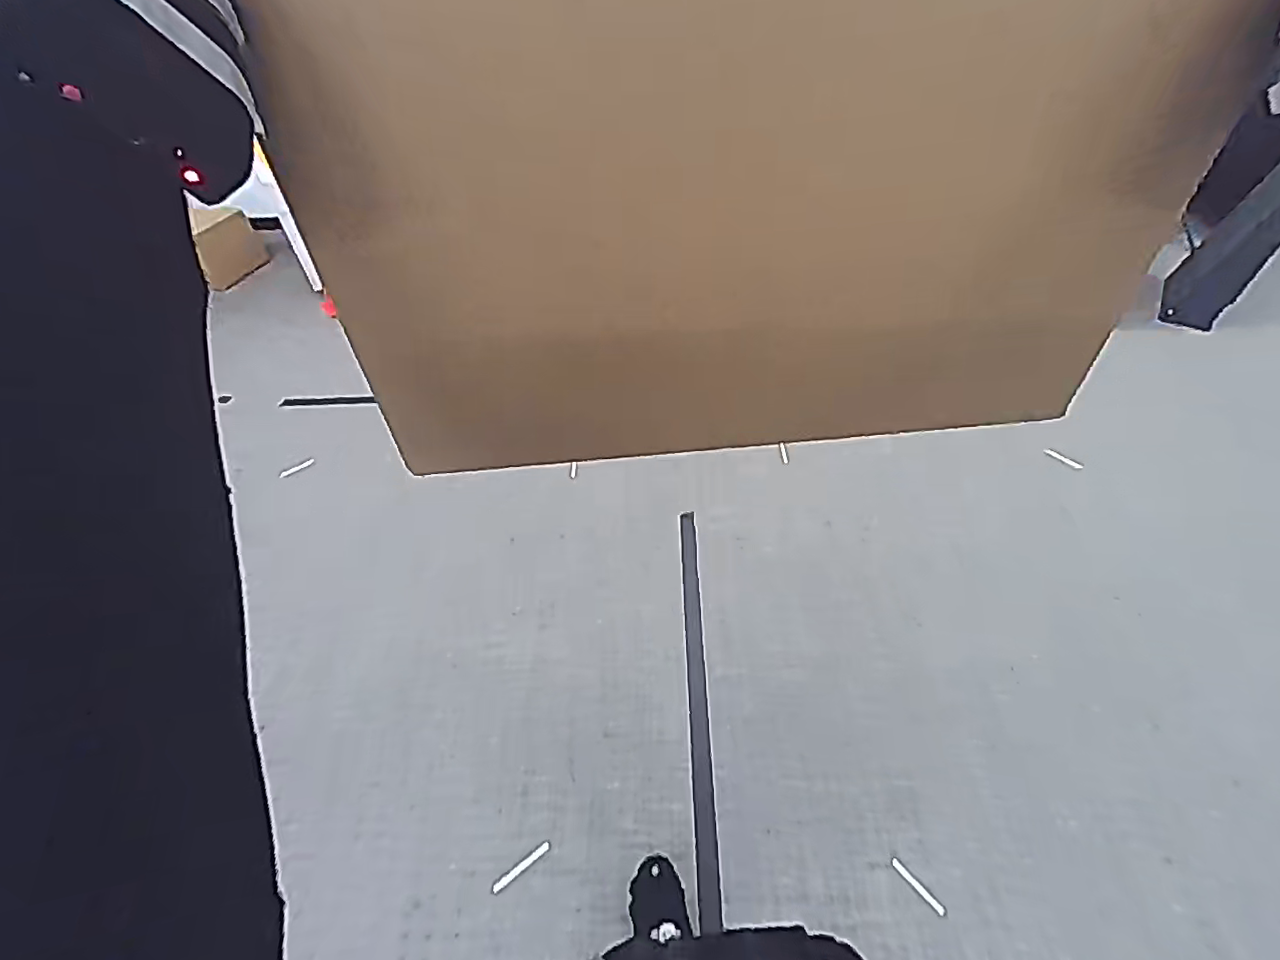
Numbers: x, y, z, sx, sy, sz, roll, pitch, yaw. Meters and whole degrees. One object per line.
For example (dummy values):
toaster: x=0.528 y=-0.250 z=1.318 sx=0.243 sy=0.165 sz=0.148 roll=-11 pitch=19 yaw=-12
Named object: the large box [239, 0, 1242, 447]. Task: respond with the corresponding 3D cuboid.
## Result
large box: x=0.038 y=-0.244 z=0.348 sx=0.408 sy=0.320 sz=0.320 roll=-5 pitch=43 yaw=-3
